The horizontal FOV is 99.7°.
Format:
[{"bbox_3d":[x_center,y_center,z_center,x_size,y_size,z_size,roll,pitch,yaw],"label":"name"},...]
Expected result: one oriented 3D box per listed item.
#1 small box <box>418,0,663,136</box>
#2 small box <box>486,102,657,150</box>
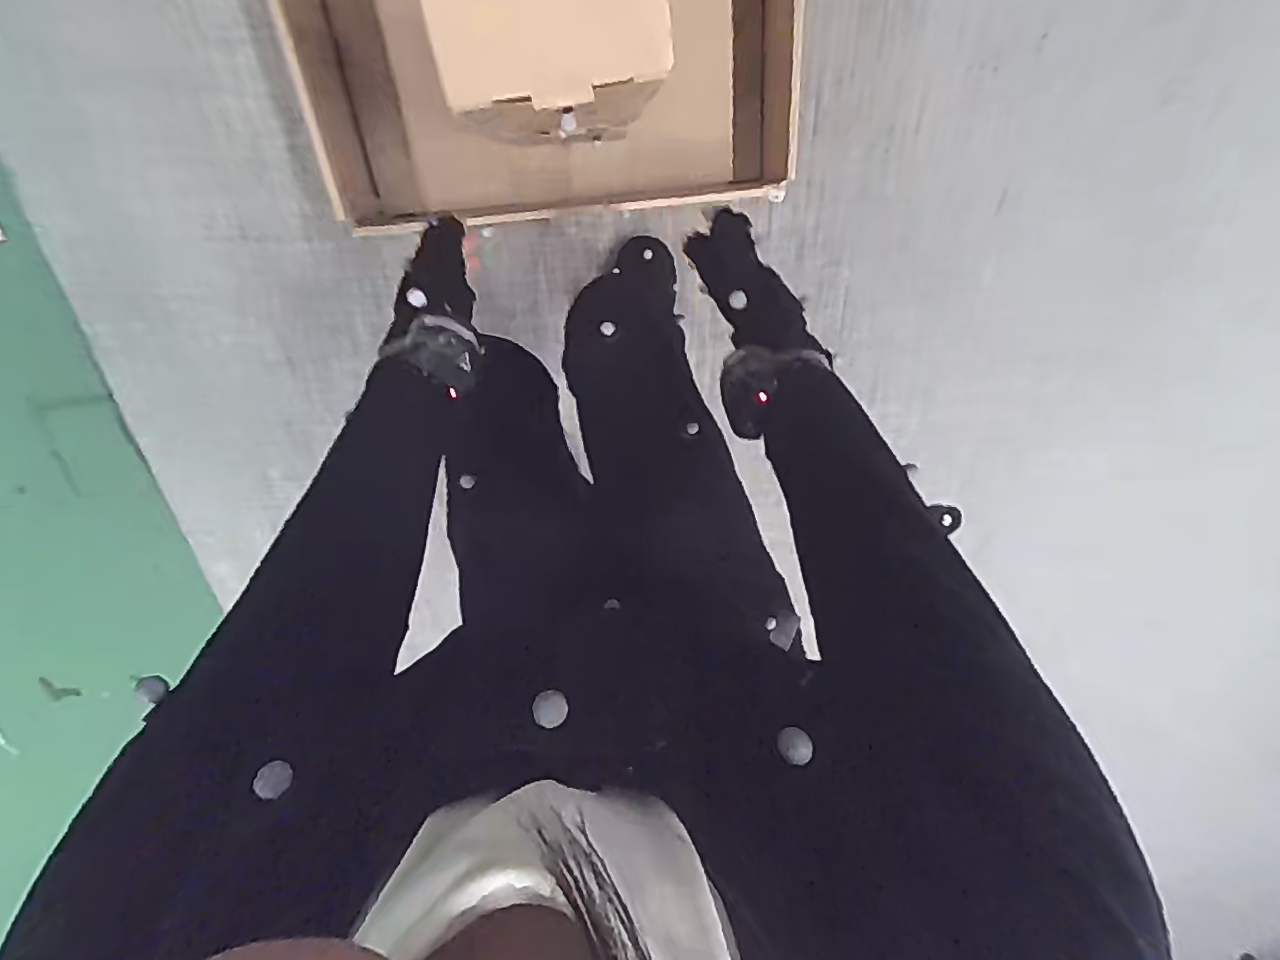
[{"bbox_3d":[-0.078,-0.386,0.430,0.168,0.176,0.179,-9,119,0],"label":"small box"},{"bbox_3d":[-0.087,-0.461,0.575,0.179,0.176,0.168,-10,119,-1],"label":"small box"}]
